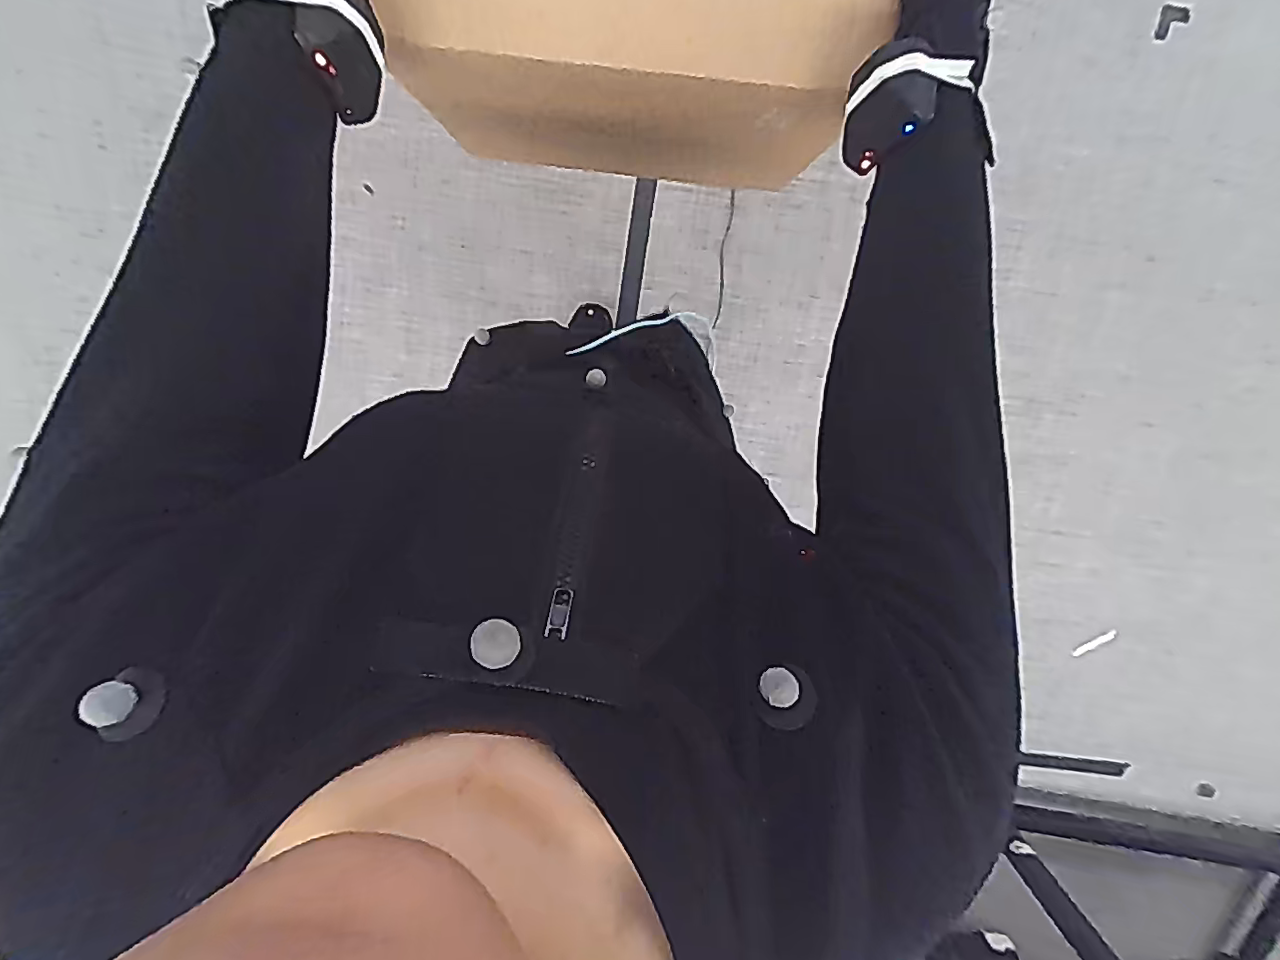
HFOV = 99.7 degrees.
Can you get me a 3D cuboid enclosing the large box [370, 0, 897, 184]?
[{"bbox_3d":[0.001,-0.506,0.519,0.408,0.320,0.320,5,107,-3],"label":"large box"}]
